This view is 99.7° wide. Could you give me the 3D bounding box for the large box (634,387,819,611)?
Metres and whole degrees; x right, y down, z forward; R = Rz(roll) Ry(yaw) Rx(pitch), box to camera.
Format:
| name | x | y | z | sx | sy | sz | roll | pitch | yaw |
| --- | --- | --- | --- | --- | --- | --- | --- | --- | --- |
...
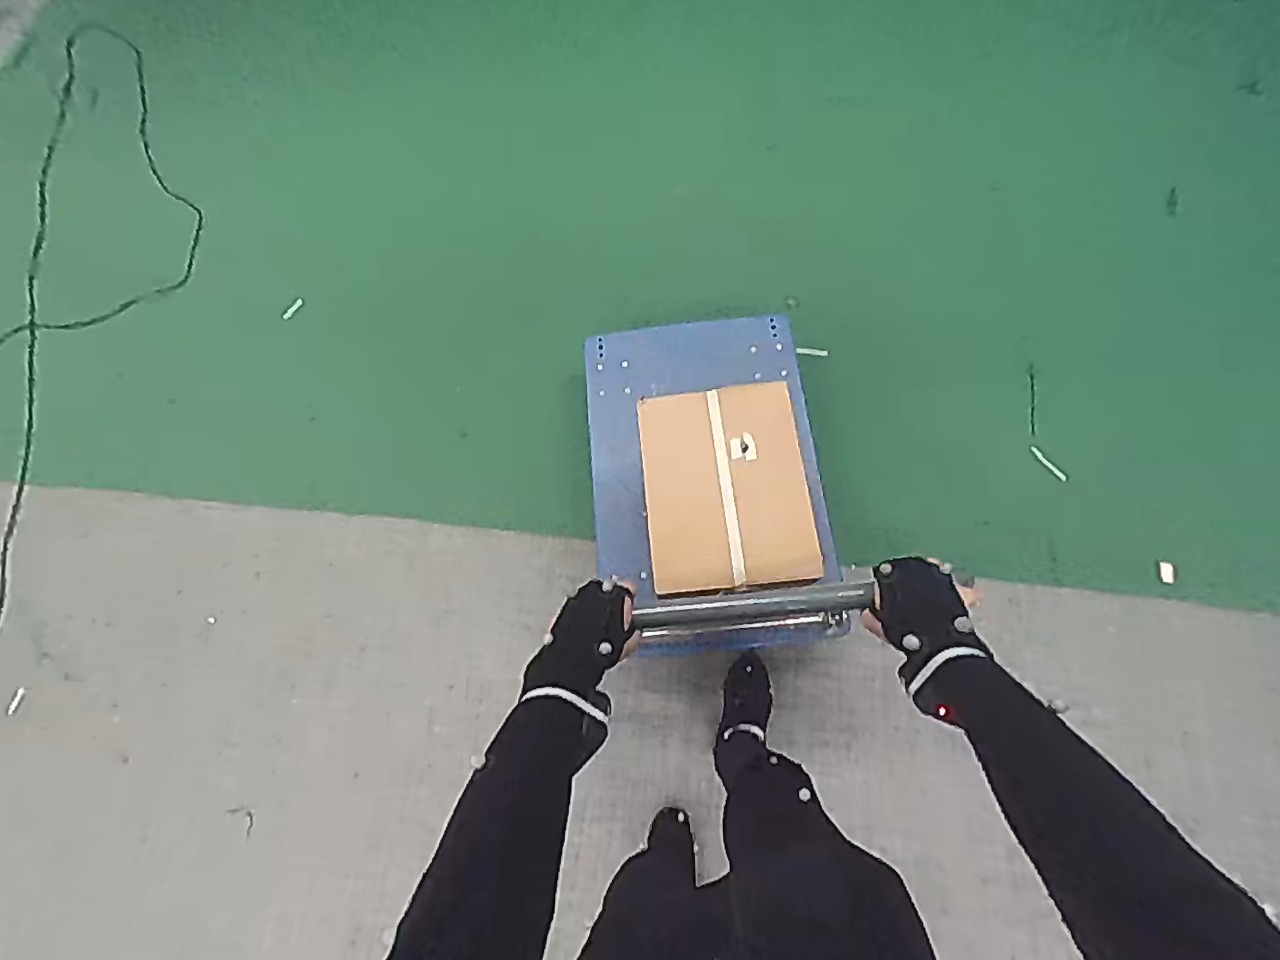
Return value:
| name | x | y | z | sx | sy | sz | roll | pitch | yaw |
| --- | --- | --- | --- | --- | --- | --- | --- | --- | --- |
| large box | 0.175 | 0.060 | 1.208 | 0.320 | 0.320 | 0.408 | -7 | 71 | 3 |
